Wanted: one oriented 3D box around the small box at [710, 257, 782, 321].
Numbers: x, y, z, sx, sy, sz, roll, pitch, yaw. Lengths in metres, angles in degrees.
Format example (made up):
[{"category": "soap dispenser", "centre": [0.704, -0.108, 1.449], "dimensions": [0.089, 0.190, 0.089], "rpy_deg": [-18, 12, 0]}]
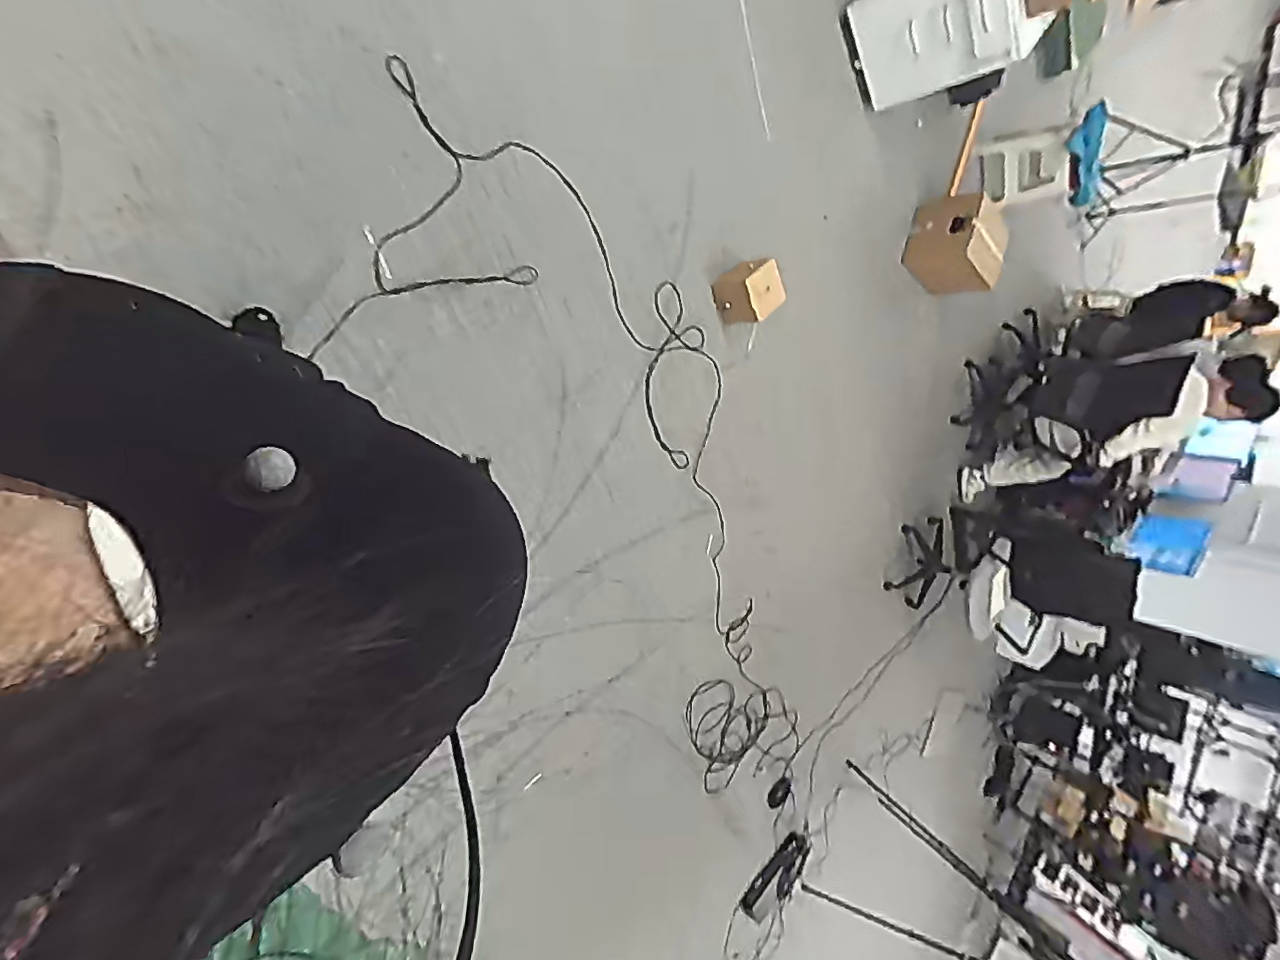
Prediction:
[{"category": "small box", "centre": [0.393, -0.706, 2.006], "dimensions": [0.179, 0.176, 0.168], "rpy_deg": [-44, 125, -22]}]
